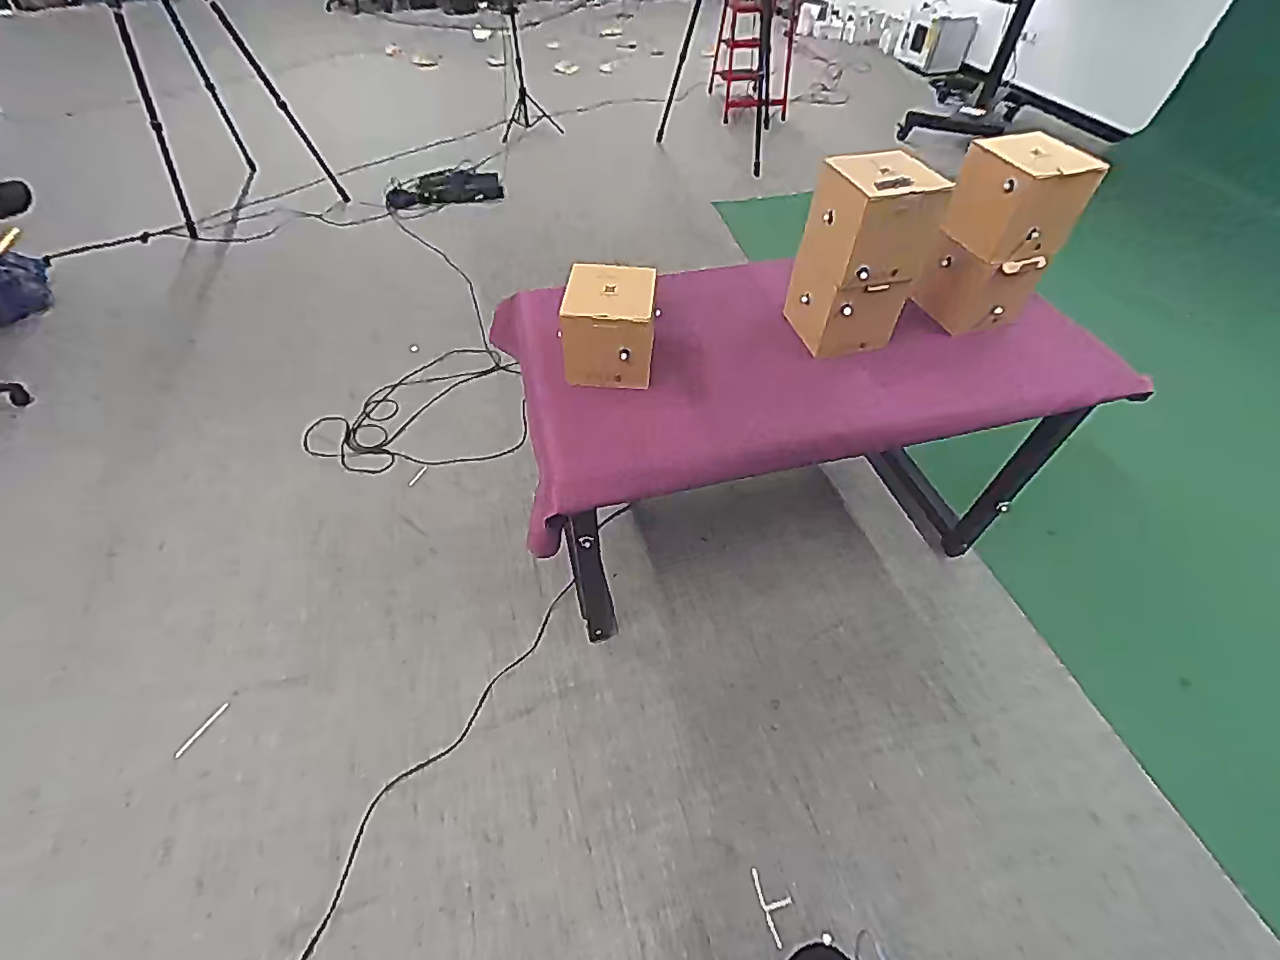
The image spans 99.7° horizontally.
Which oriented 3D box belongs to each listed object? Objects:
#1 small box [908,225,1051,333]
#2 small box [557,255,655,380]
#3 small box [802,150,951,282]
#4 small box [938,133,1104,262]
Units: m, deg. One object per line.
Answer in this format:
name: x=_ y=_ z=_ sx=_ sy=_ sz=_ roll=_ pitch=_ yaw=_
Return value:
small box: x=0.734 y=-0.452 z=1.196 sx=0.168 sy=0.176 sz=0.179 roll=-14 pitch=53 yaw=-11
small box: x=-0.058 y=-0.313 z=1.055 sx=0.168 sy=0.176 sz=0.179 roll=4 pitch=51 yaw=2
small box: x=0.427 y=-0.485 z=1.008 sx=0.168 sy=0.176 sz=0.179 roll=-11 pitch=51 yaw=-10
small box: x=0.737 y=-0.558 z=1.072 sx=0.168 sy=0.176 sz=0.179 roll=-13 pitch=53 yaw=-11
